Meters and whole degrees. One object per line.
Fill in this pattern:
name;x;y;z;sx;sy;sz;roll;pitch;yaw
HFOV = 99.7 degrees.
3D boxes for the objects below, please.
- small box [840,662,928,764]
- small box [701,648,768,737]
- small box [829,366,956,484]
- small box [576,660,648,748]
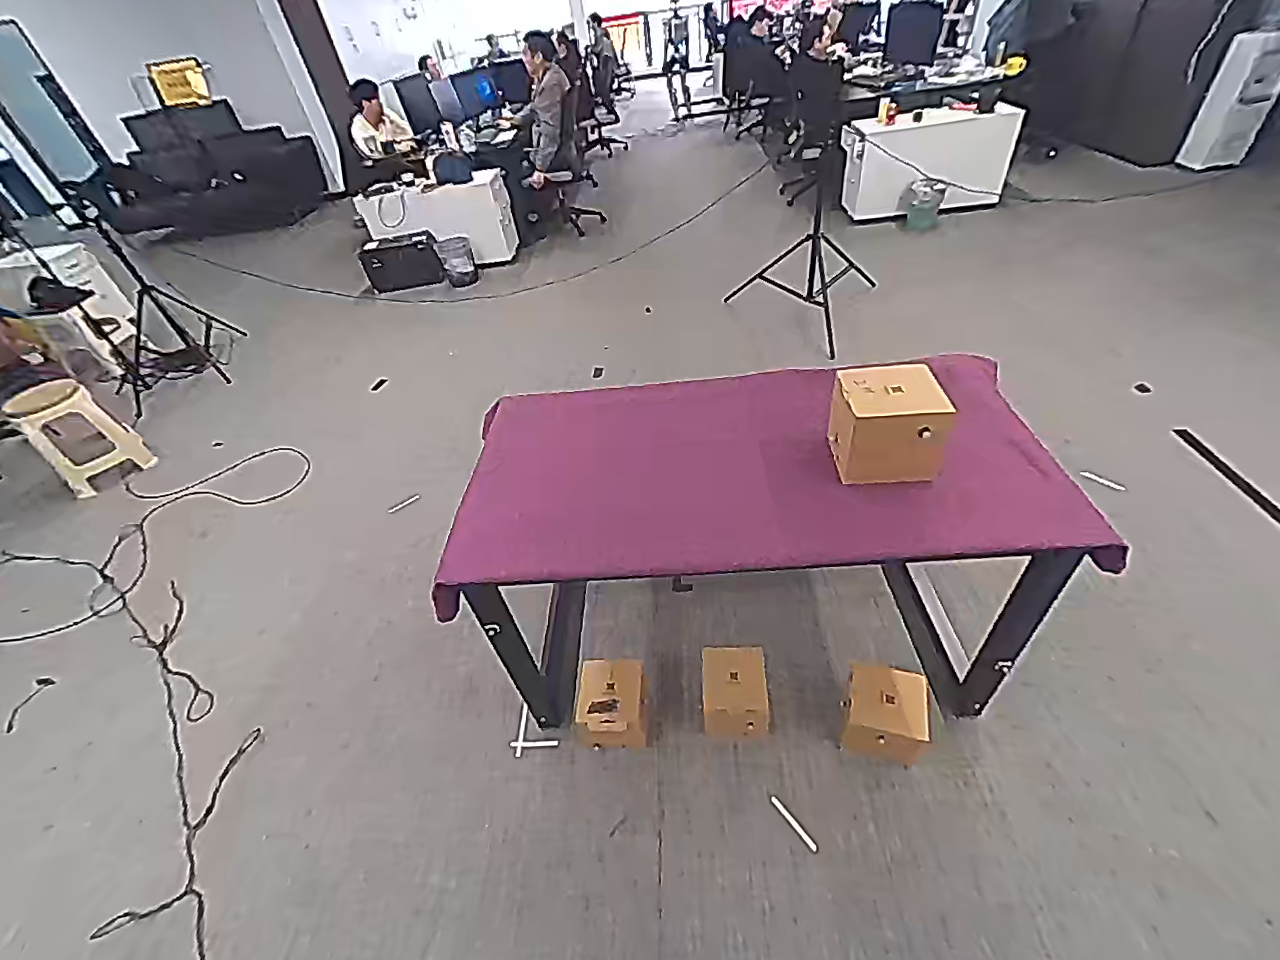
small box;0.616;0.596;1.375;0.179;0.176;0.168;7;45;19
small box;0.253;0.576;1.461;0.168;0.176;0.179;-2;42;6
small box;0.487;-0.106;1.074;0.179;0.176;0.168;-3;42;7
small box;-0.069;0.613;1.475;0.168;0.176;0.179;-3;41;6
